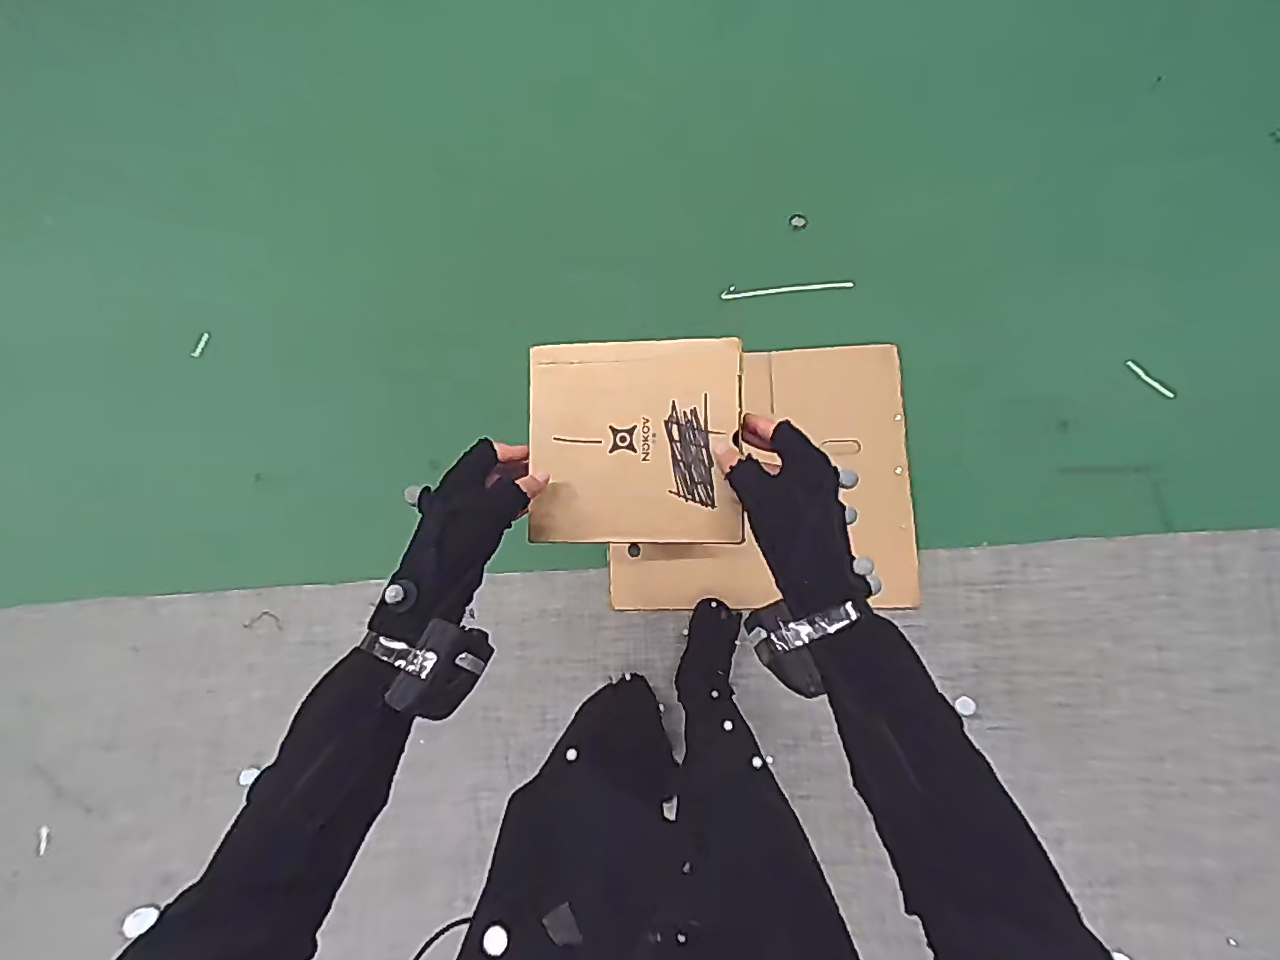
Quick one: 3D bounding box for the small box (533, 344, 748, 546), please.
[{"bbox_3d":[0.007,-0.024,0.518,0.179,0.176,0.168,-1,85,7],"label":"small box"}]
